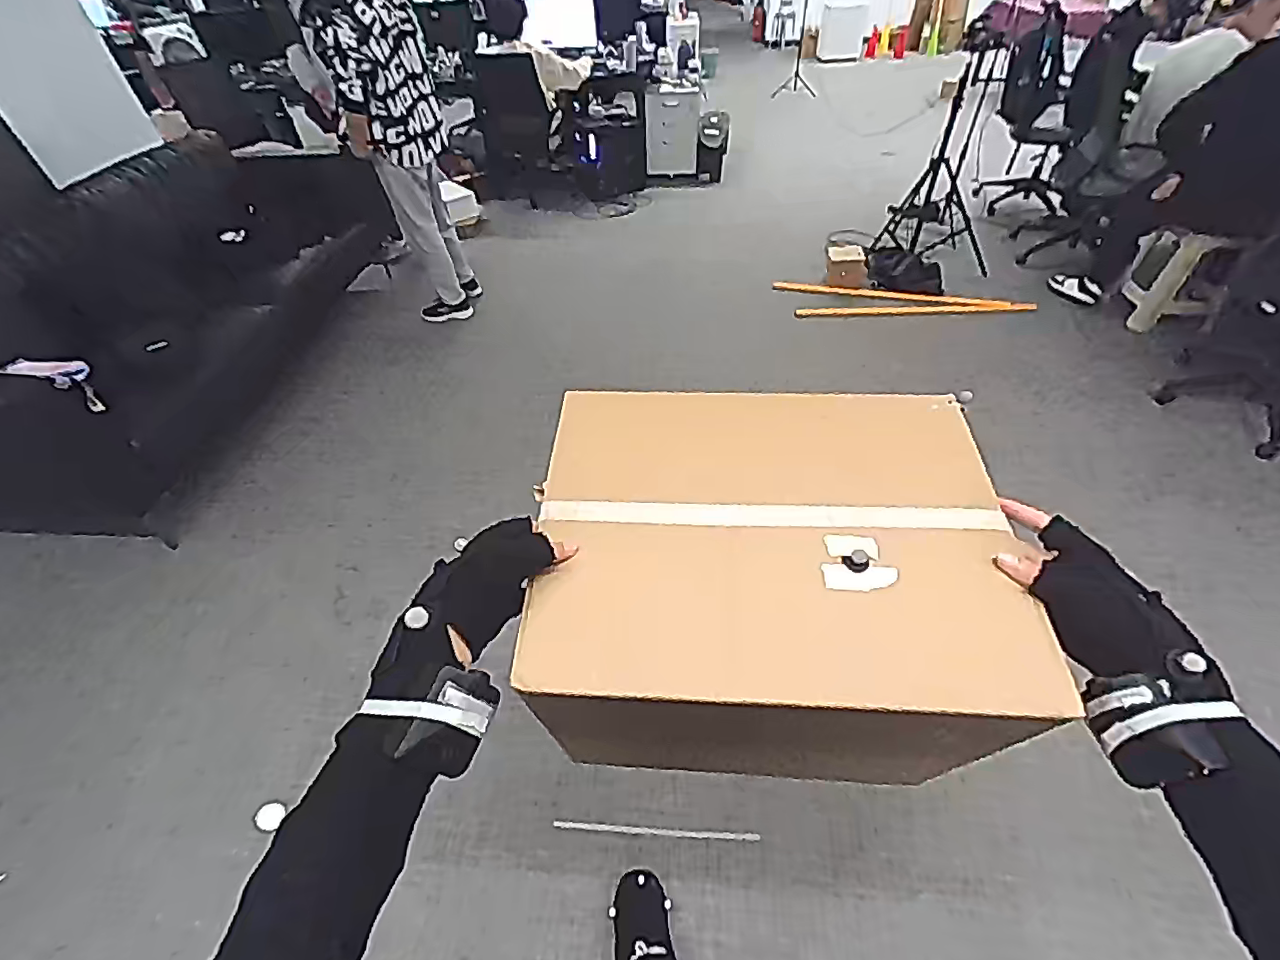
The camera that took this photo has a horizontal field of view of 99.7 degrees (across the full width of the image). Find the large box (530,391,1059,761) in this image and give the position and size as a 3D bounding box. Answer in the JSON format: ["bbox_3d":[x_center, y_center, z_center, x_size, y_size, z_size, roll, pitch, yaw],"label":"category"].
[{"bbox_3d":[0.120,0.116,0.611,0.408,0.320,0.320,1,54,3],"label":"large box"}]
